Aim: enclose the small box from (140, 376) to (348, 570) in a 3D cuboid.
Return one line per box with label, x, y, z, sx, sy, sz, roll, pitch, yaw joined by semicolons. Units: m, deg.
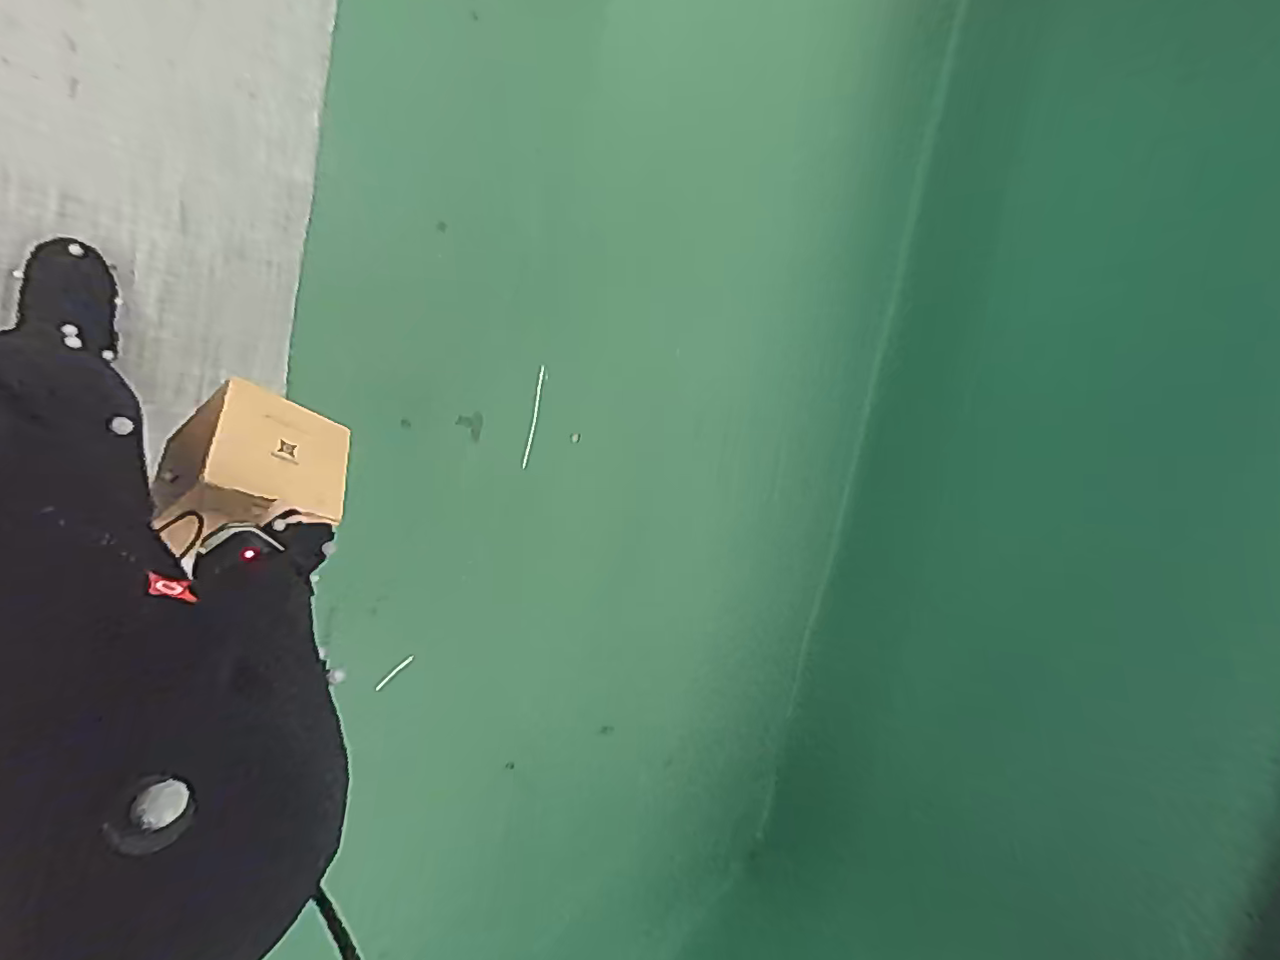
small box;-0.530;0.001;0.735;0.176;0.179;0.168;-32;144;20
